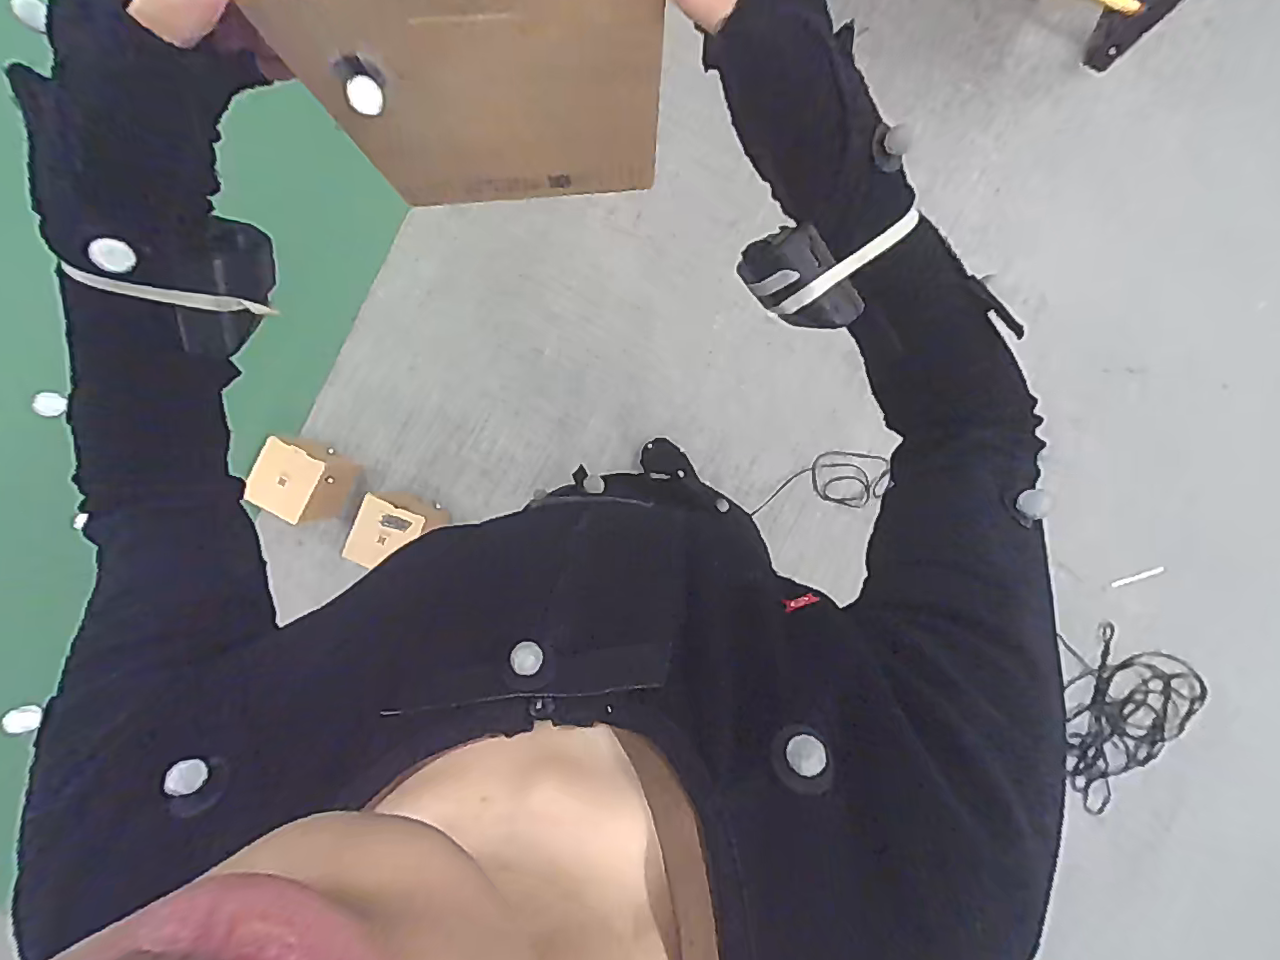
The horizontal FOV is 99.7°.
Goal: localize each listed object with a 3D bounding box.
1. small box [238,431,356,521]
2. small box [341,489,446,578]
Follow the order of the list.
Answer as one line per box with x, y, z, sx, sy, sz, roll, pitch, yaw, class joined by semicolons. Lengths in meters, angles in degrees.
-0.889;-0.010;1.421;0.168;0.176;0.179;27;91;0;small box
-0.633;0.131;1.414;0.168;0.176;0.179;23;92;1;small box
